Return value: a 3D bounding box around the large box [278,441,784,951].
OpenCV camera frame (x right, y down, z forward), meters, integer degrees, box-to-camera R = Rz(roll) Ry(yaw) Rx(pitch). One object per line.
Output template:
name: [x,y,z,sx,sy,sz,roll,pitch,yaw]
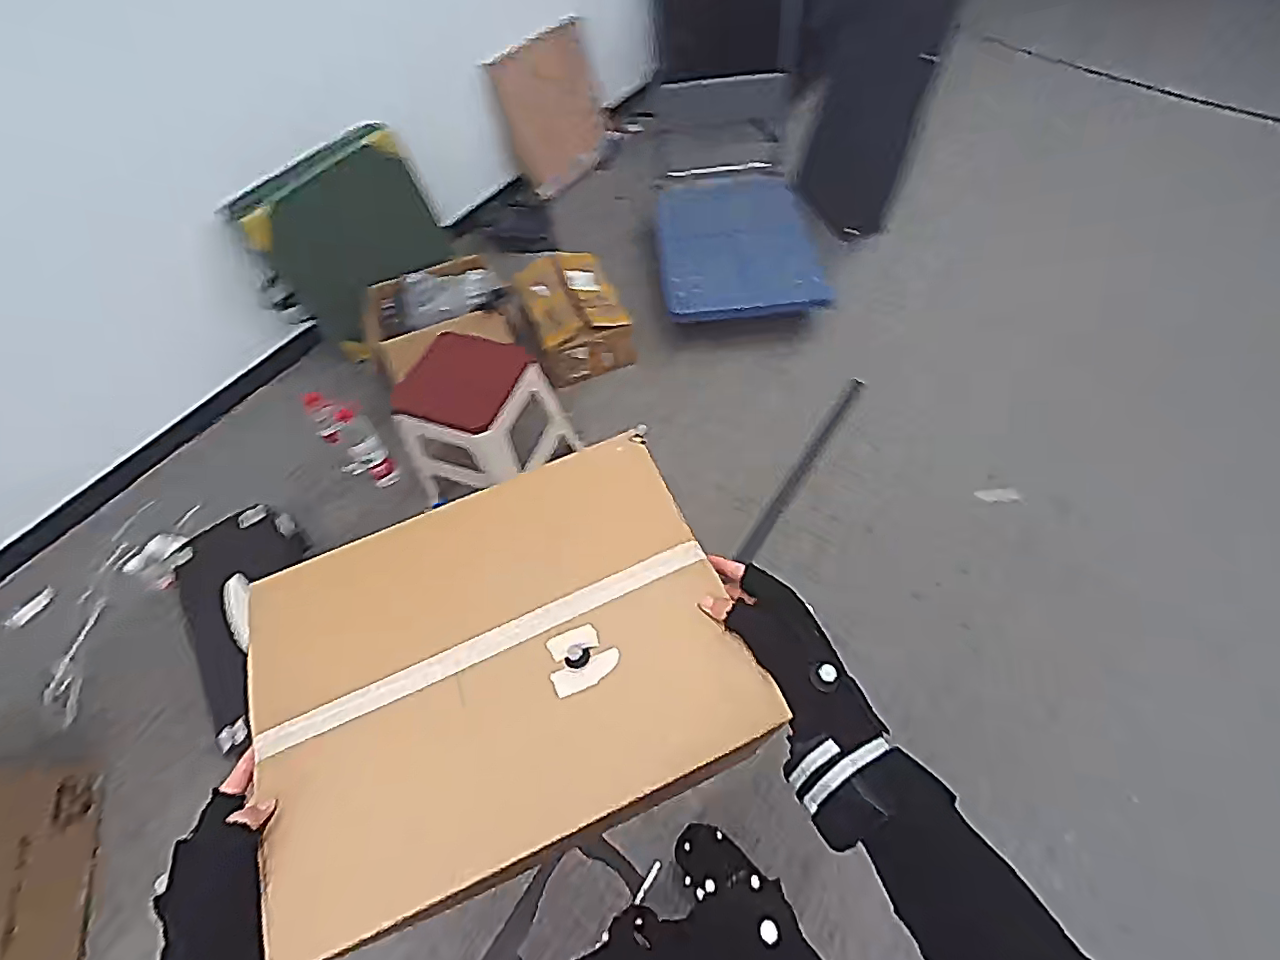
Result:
large box: [-0.108,0.225,0.609,0.408,0.320,0.320,-22,59,-8]
